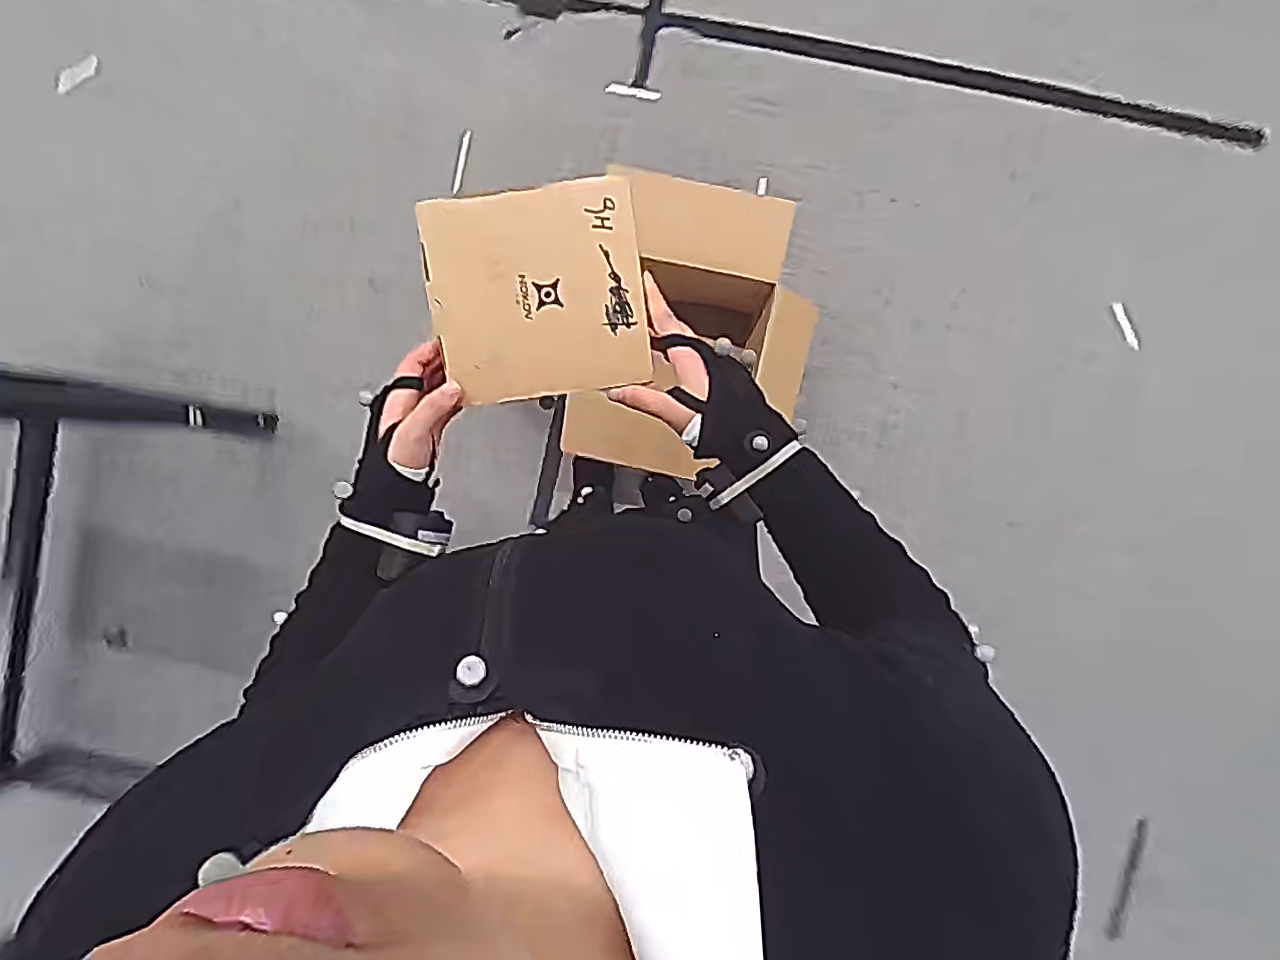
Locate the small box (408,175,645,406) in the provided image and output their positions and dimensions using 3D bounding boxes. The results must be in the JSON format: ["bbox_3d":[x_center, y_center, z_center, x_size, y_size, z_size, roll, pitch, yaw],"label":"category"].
[{"bbox_3d":[-0.090,-0.164,0.521,0.179,0.176,0.168,-8,100,1],"label":"small box"}]
